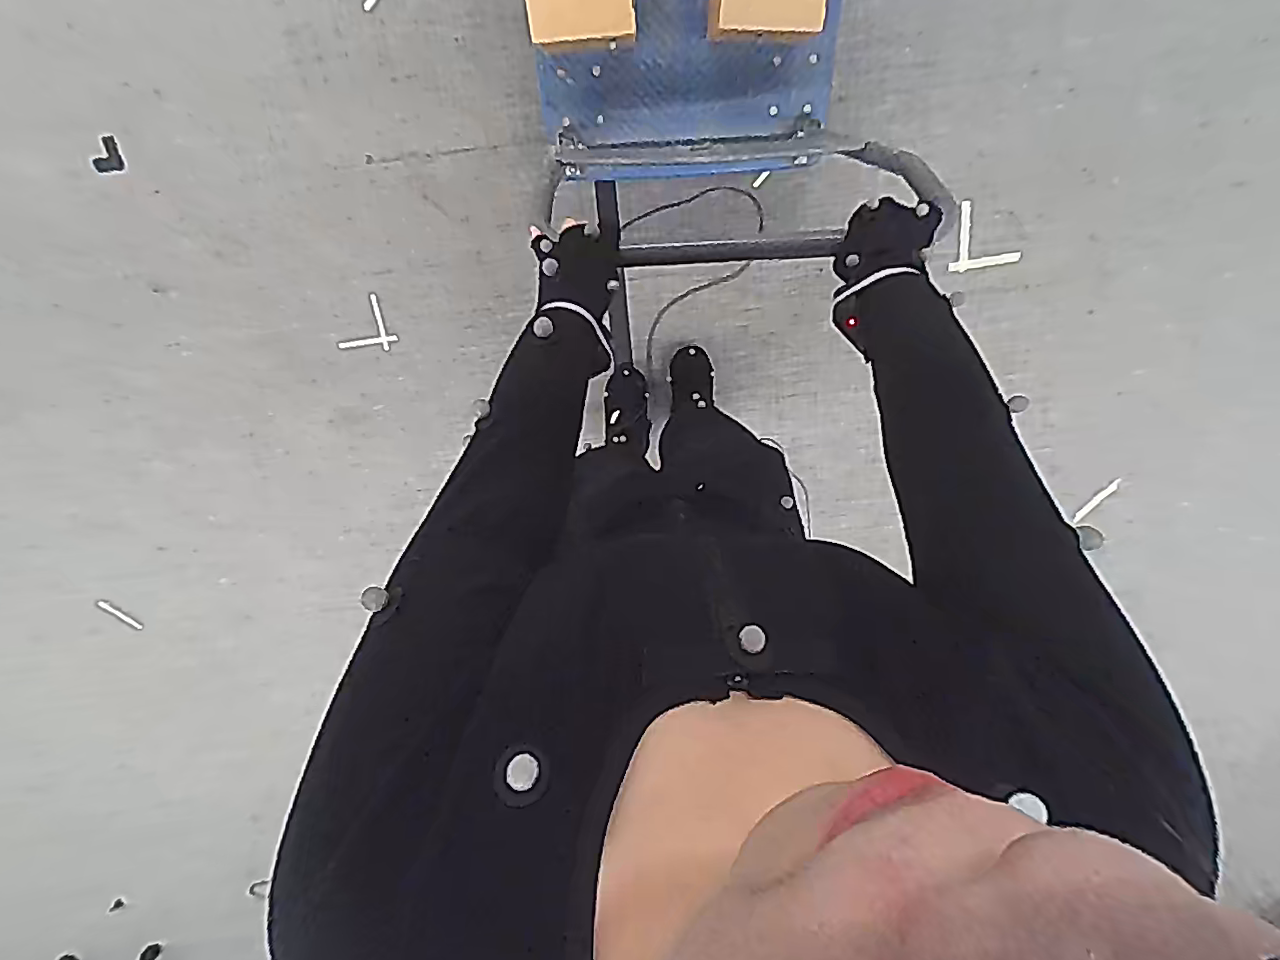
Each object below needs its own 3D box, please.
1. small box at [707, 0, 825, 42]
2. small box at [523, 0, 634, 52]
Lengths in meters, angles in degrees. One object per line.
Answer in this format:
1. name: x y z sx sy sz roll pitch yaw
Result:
1. small box: 0.212 -0.854 0.910 0.179 0.176 0.168 0 124 -2
2. small box: -0.105 -0.840 0.909 0.179 0.176 0.168 -6 124 0
